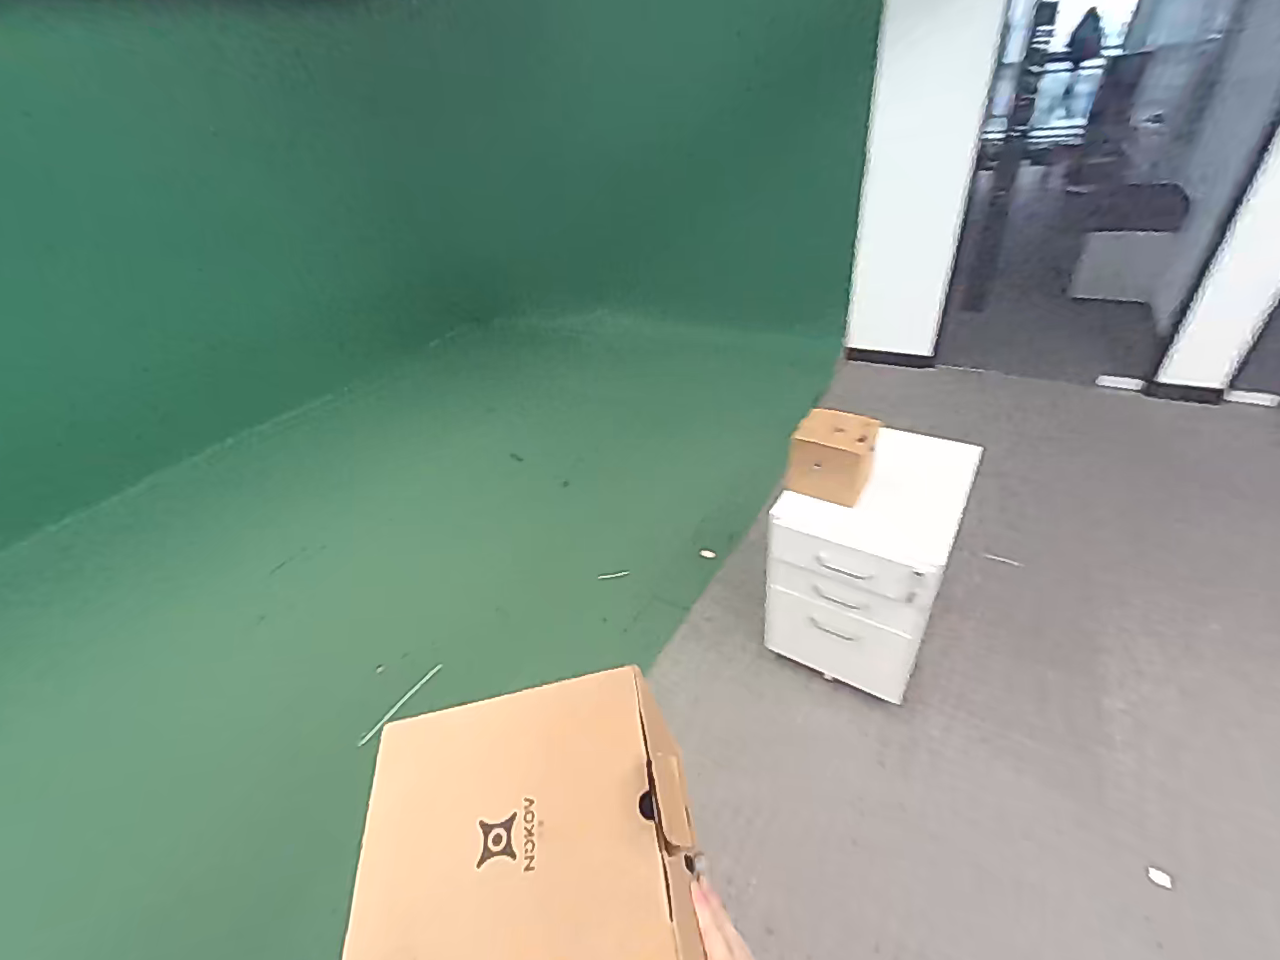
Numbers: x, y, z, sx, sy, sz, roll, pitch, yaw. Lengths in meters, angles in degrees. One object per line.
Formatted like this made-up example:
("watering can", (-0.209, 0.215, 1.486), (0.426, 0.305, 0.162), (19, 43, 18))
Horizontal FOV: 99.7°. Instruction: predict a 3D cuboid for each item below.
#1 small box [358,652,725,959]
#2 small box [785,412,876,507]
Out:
("small box", (-0.051, 0.246, 0.366), (0.179, 0.176, 0.168), (-14, 45, 3))
("small box", (0.484, -0.052, 1.391), (0.179, 0.176, 0.168), (17, 43, 29))
